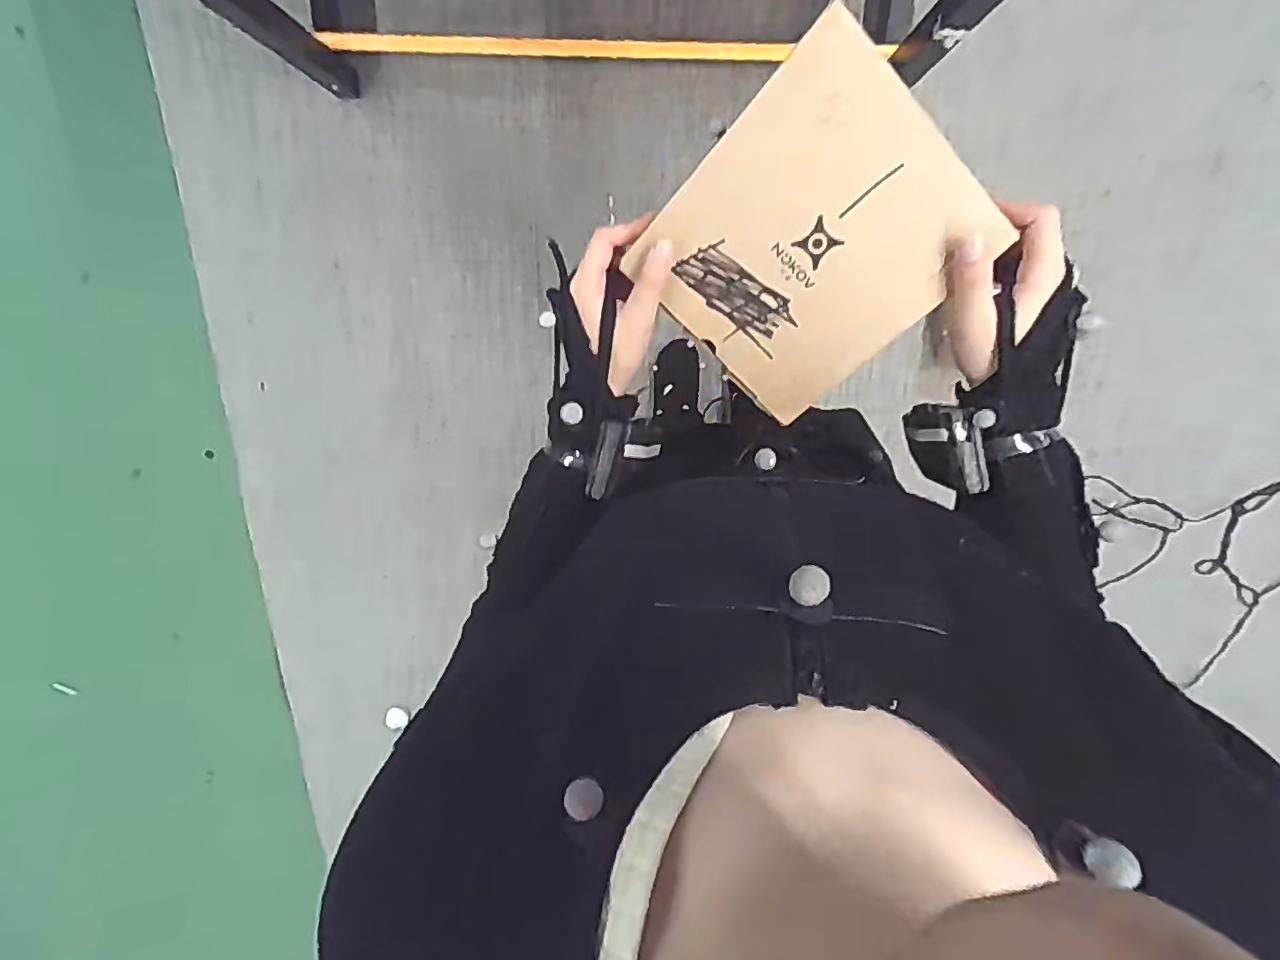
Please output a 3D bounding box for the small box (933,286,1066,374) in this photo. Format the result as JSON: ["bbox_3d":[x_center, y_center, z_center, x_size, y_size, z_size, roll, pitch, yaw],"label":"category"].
[{"bbox_3d":[0.770,-0.324,1.174,0.179,0.176,0.168,-4,105,3],"label":"small box"}]
